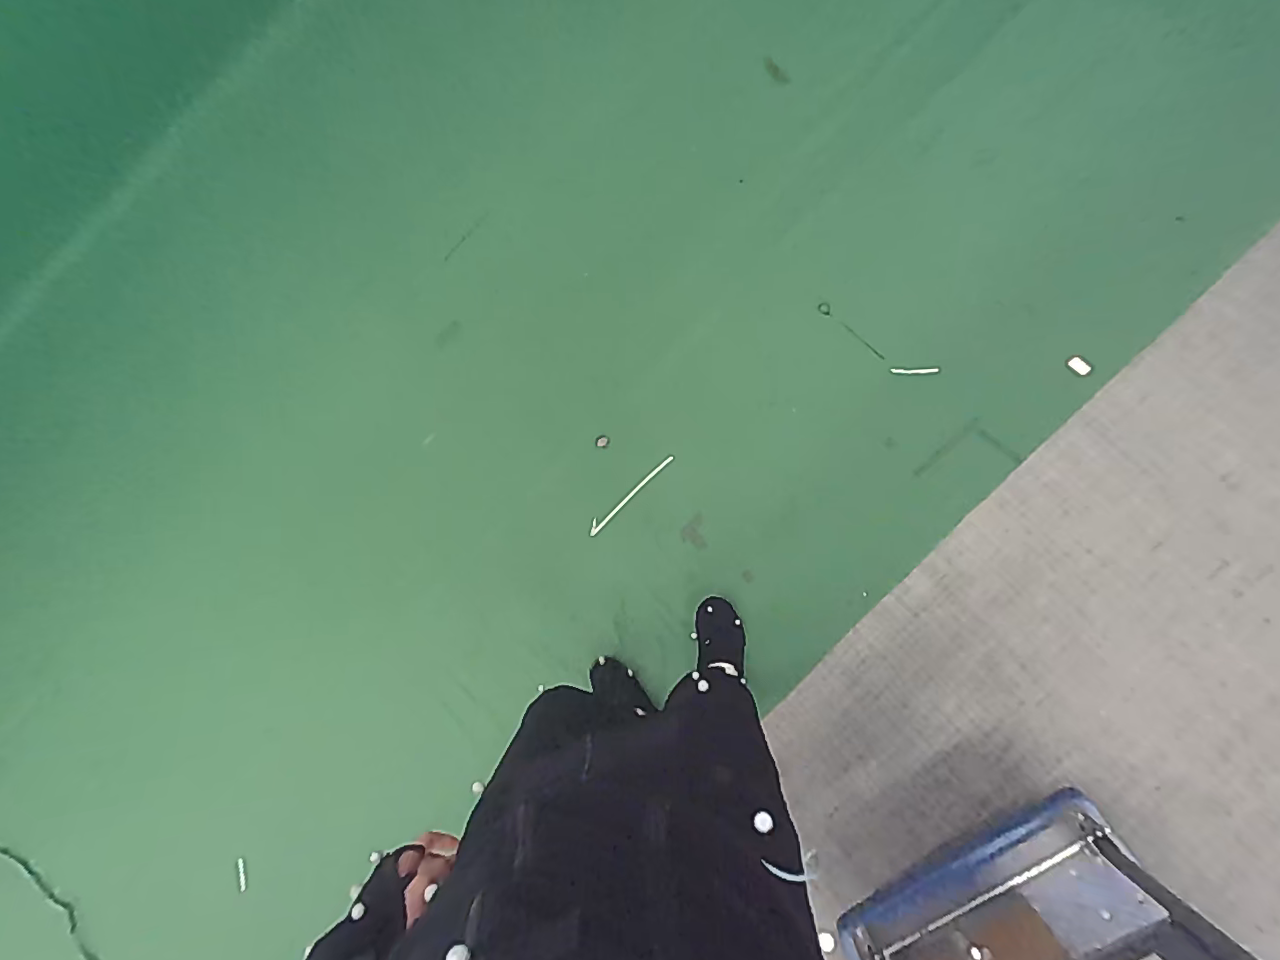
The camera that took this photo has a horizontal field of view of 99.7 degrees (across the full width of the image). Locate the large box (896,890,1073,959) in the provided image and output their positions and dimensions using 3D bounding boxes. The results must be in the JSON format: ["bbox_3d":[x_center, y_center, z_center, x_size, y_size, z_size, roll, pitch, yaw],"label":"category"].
[{"bbox_3d":[0.687,1.017,0.880,0.320,0.320,0.408,-35,76,5],"label":"large box"}]
